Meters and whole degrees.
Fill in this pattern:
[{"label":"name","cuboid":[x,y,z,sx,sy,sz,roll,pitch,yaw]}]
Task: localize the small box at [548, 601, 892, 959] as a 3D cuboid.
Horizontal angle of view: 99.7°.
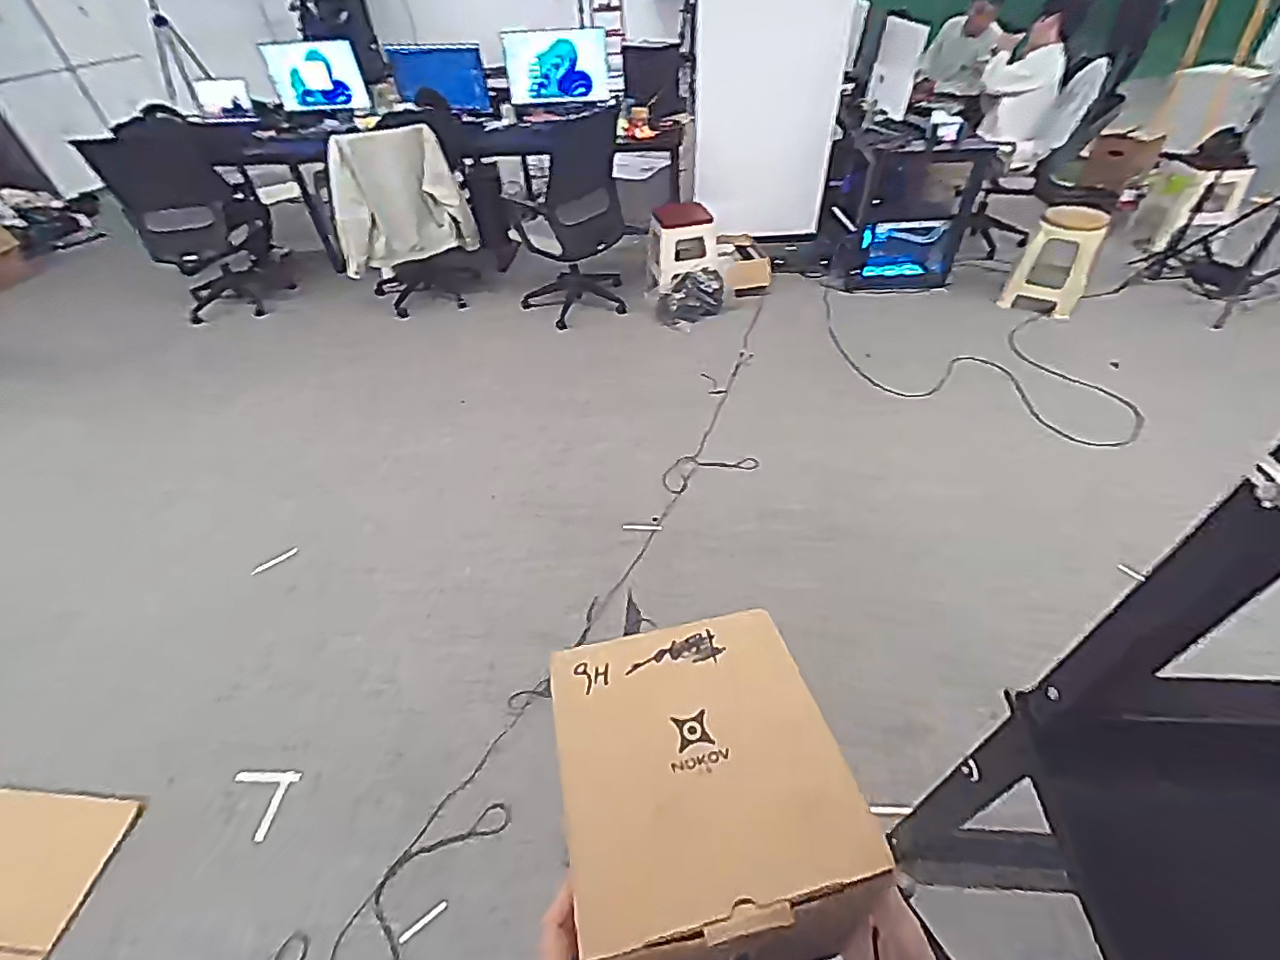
[{"label":"small box","cuboid":[0.034,0.216,0.372,0.168,0.176,0.179,-8,38,-9]}]
